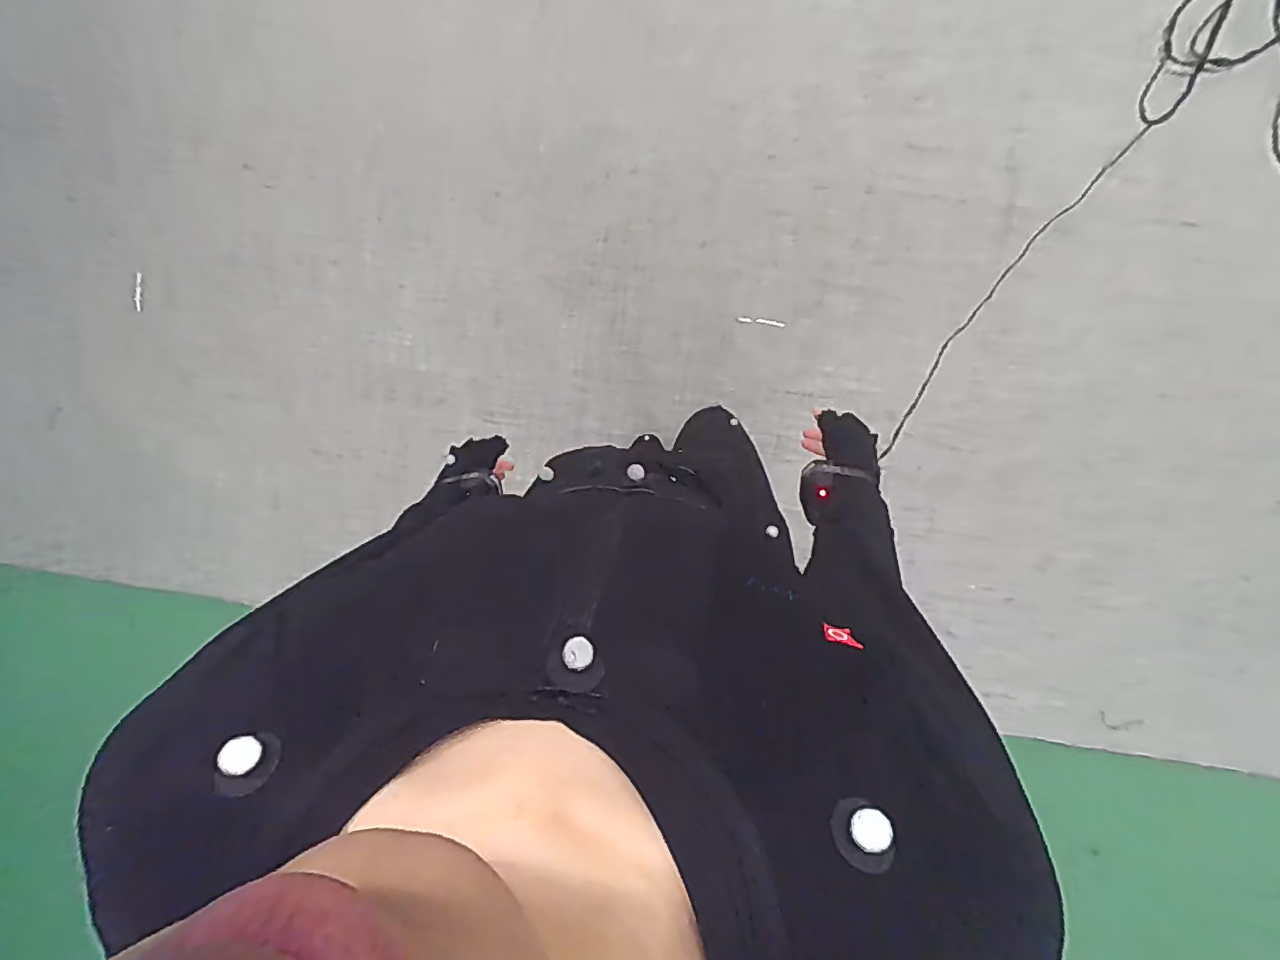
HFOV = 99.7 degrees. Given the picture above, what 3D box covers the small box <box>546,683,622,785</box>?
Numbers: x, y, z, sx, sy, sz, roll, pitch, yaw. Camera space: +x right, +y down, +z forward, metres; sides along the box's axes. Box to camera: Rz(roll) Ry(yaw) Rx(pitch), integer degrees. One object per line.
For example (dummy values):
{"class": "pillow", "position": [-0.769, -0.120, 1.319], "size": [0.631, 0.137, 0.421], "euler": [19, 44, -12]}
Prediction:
{"class": "small box", "position": [-0.146, 0.682, 1.467], "size": [0.168, 0.176, 0.179], "euler": [8, 97, 4]}
